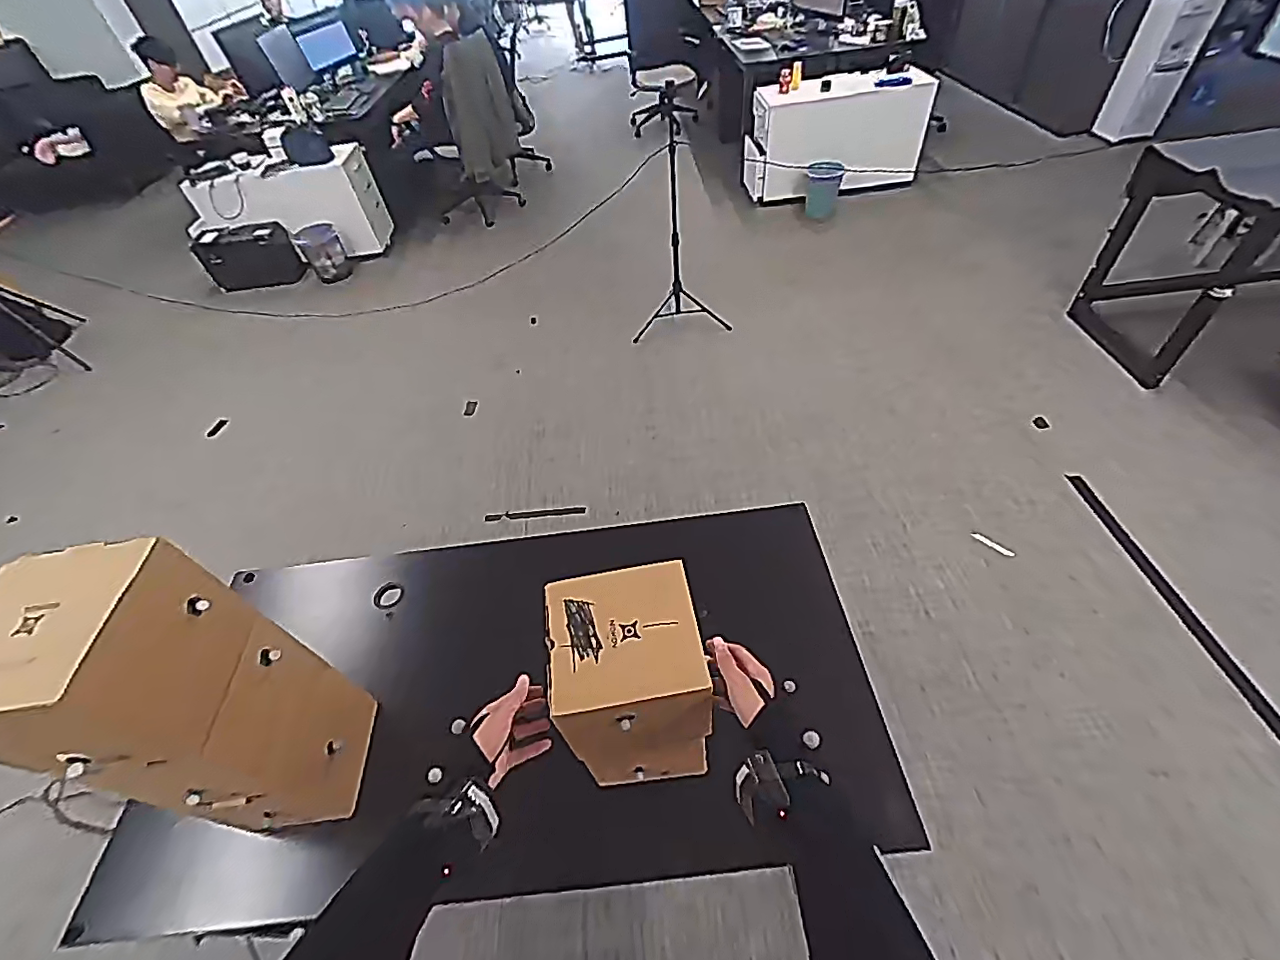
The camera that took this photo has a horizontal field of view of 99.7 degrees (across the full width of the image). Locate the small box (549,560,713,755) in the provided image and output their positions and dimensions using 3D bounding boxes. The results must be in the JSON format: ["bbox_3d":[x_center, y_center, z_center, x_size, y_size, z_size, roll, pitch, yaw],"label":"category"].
[{"bbox_3d":[-0.009,0.225,0.675,0.179,0.176,0.168,-9,49,-2],"label":"small box"}]

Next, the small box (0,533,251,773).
[{"bbox_3d":[-0.556,0.182,0.564,0.168,0.176,0.179,-9,49,1],"label":"small box"}]

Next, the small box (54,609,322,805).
[{"bbox_3d":[-0.542,0.289,0.686,0.168,0.176,0.179,-8,48,1],"label":"small box"}]

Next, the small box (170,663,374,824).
[{"bbox_3d":[-0.526,0.399,0.808,0.168,0.176,0.179,-8,49,0],"label":"small box"}]

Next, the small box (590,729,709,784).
[{"bbox_3d":[0.006,0.328,0.802,0.168,0.176,0.179,-7,48,1],"label":"small box"}]
